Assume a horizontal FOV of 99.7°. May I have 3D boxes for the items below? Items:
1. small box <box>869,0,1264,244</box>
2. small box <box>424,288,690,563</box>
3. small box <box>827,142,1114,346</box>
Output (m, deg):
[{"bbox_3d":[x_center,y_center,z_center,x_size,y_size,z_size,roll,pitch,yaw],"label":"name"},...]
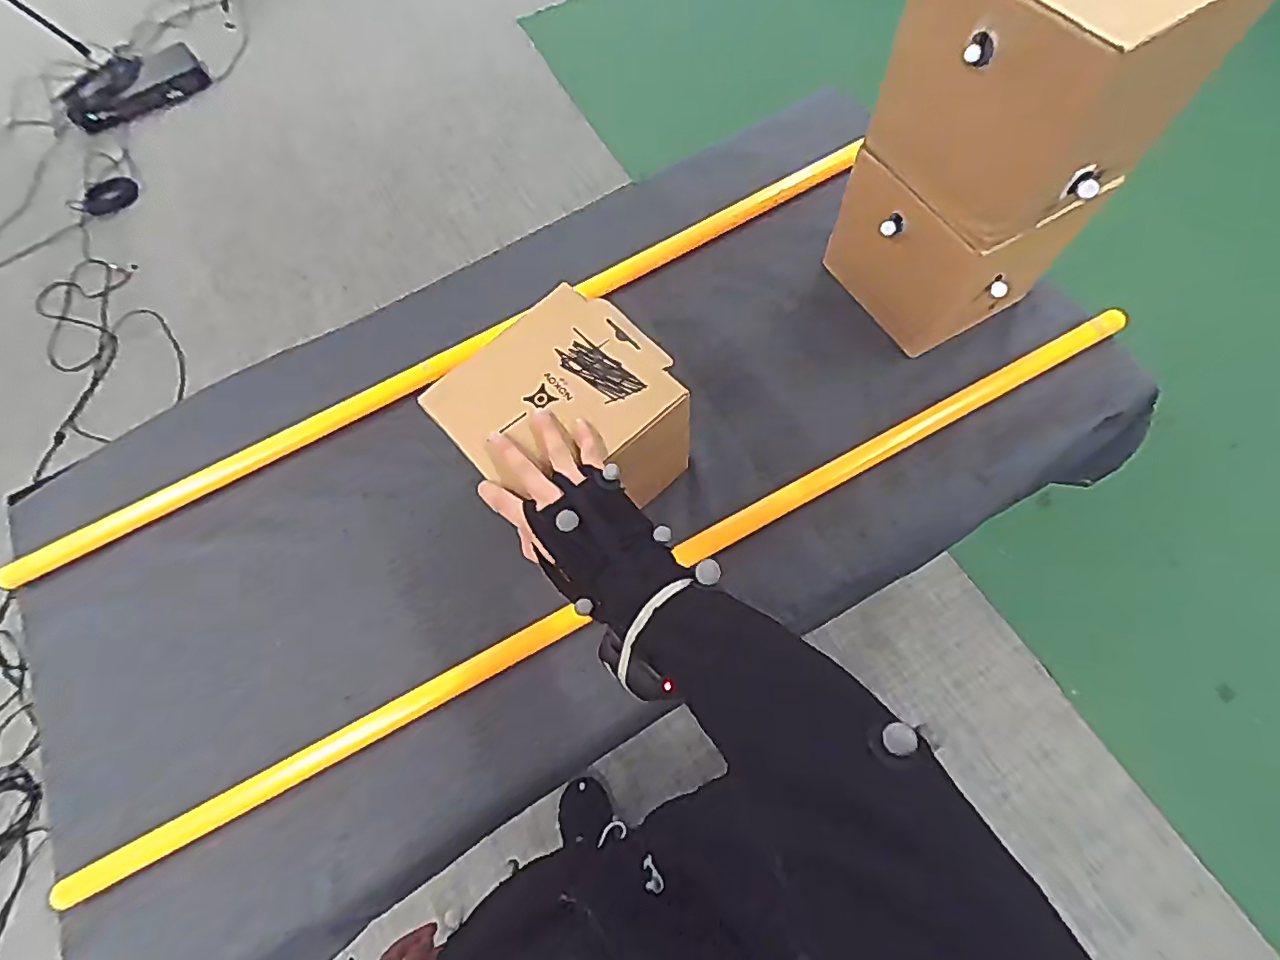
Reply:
[{"bbox_3d":[0.324,-0.338,0.445,0.168,0.176,0.179,-31,69,-5],"label":"small box"},{"bbox_3d":[-0.069,-0.043,0.540,0.179,0.176,0.168,-41,71,-10],"label":"small box"},{"bbox_3d":[0.336,-0.274,0.594,0.168,0.176,0.179,-29,68,-6],"label":"small box"}]
